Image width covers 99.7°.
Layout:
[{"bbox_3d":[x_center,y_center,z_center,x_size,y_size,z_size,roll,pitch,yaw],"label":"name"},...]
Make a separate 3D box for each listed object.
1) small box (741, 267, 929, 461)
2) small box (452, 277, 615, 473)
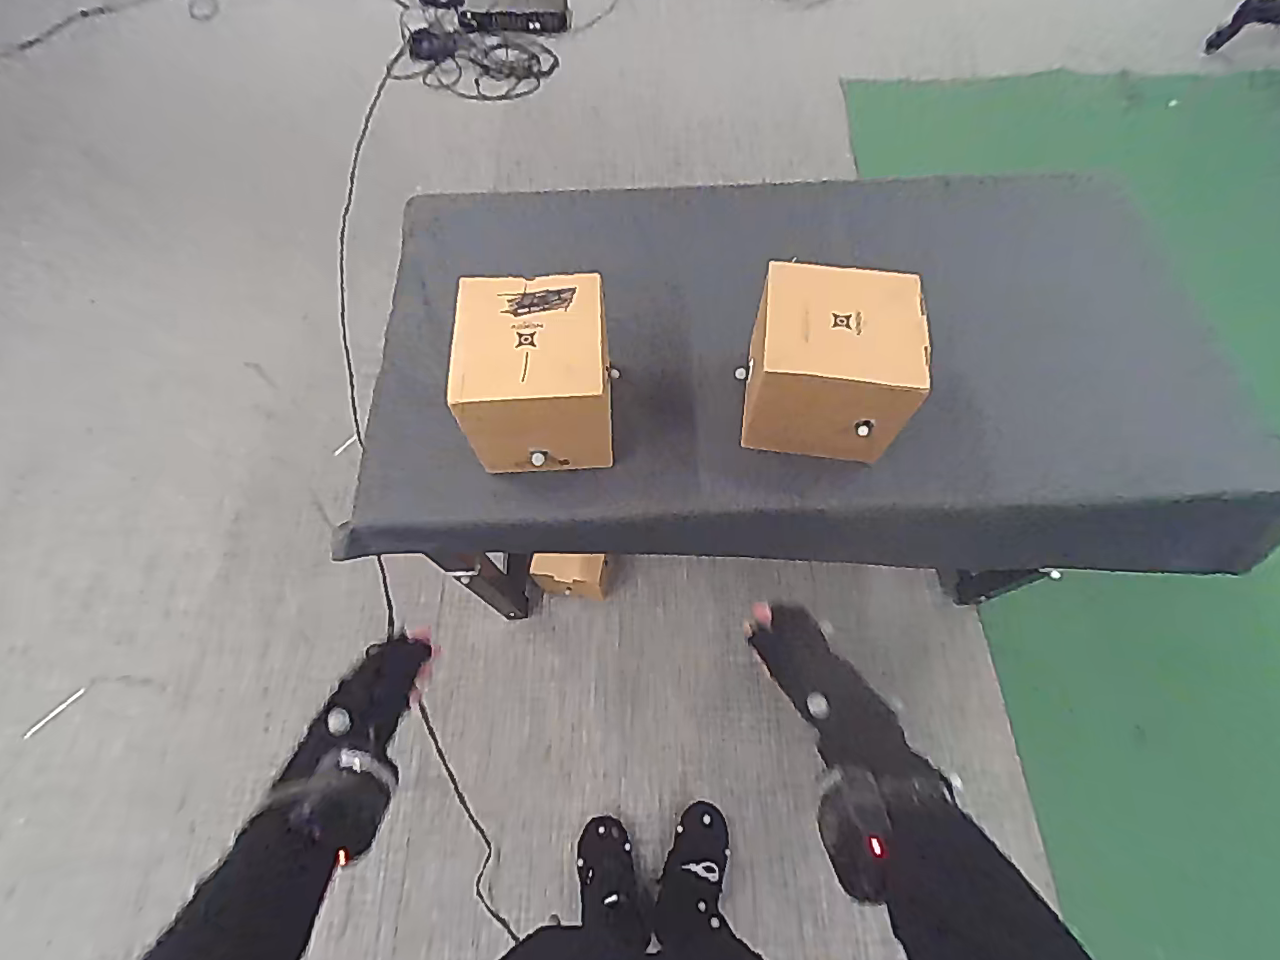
[{"bbox_3d":[0.231,-0.138,0.679,0.179,0.176,0.168,6,64,5],"label":"small box"},{"bbox_3d":[-0.118,-0.125,0.672,0.168,0.176,0.179,-3,64,-1],"label":"small box"}]
